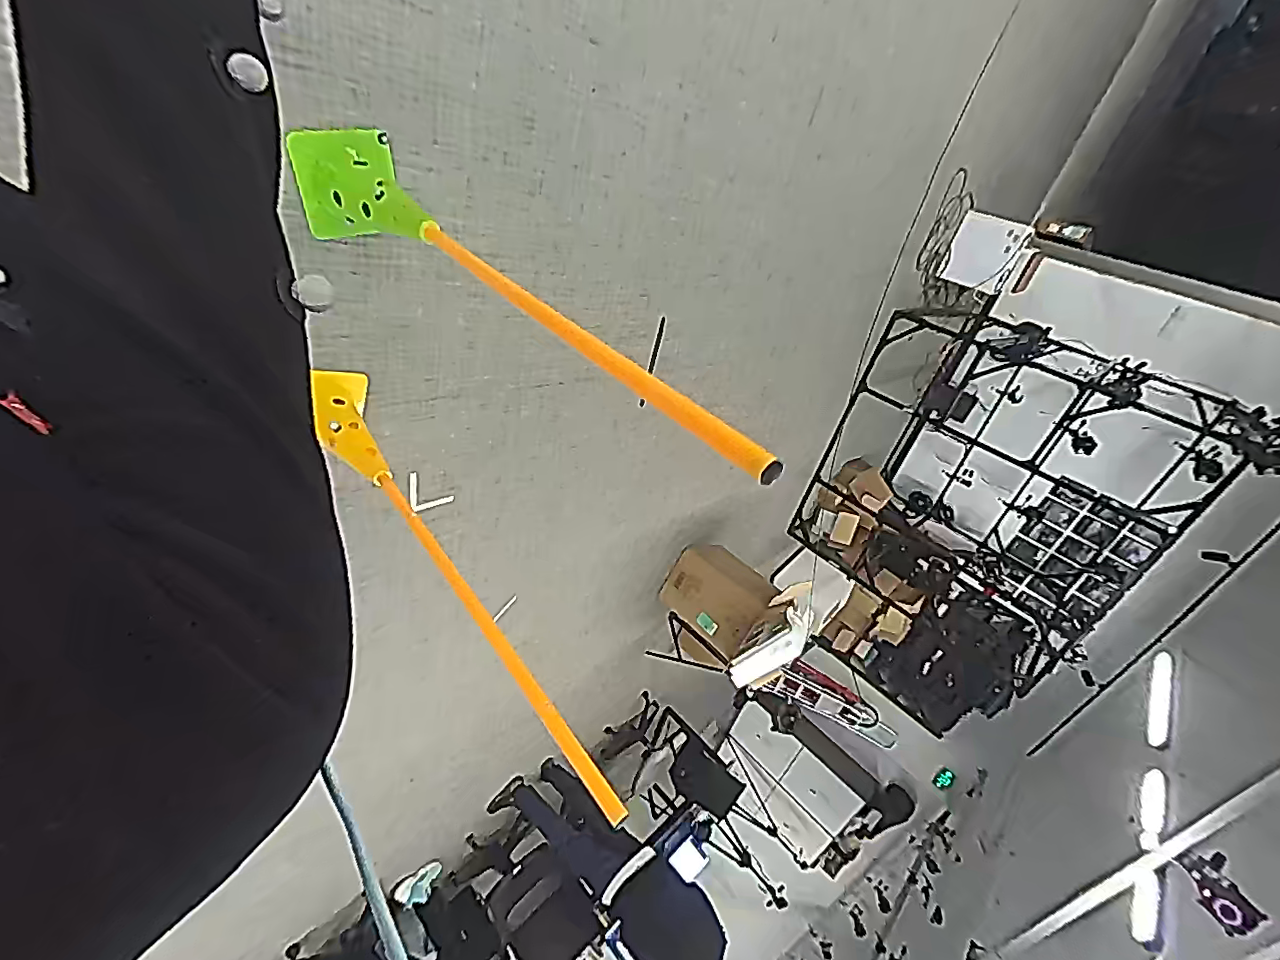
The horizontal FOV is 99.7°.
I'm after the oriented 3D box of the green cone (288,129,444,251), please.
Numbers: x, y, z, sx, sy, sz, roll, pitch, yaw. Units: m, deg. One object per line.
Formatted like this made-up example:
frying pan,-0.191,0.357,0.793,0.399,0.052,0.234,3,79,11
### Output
green cone,-0.492,-0.527,1.049,0.200,0.368,0.202,-29,143,-34
